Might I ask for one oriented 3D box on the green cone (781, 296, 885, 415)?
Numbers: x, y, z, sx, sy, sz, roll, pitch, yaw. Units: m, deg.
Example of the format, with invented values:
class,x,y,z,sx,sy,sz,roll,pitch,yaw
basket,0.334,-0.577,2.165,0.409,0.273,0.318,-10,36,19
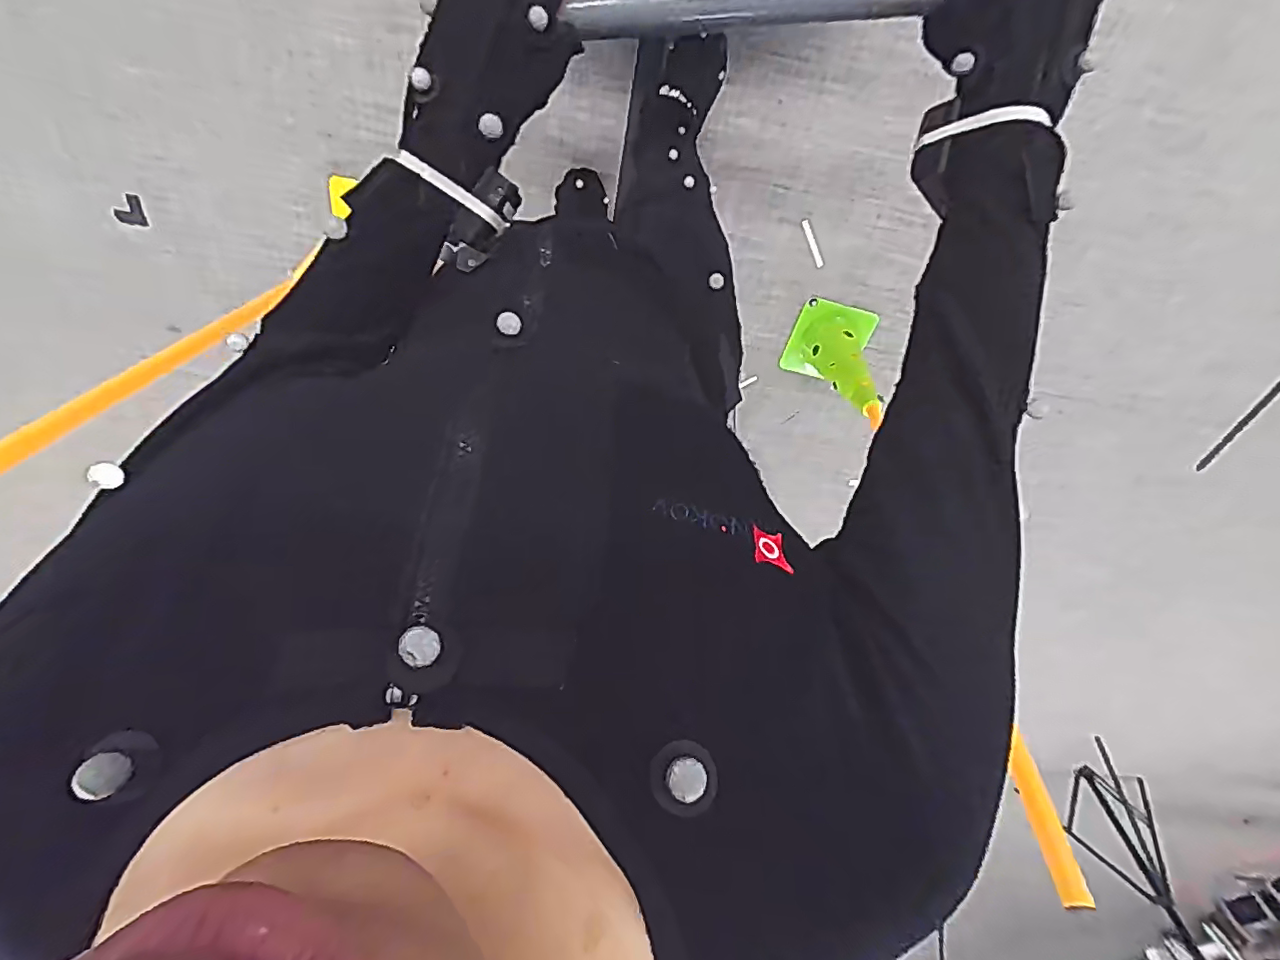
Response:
class,x,y,z,sx,sy,sz,roll,pitch,yaw
green cone,0.492,-0.263,1.282,0.202,0.368,0.200,11,128,-9
